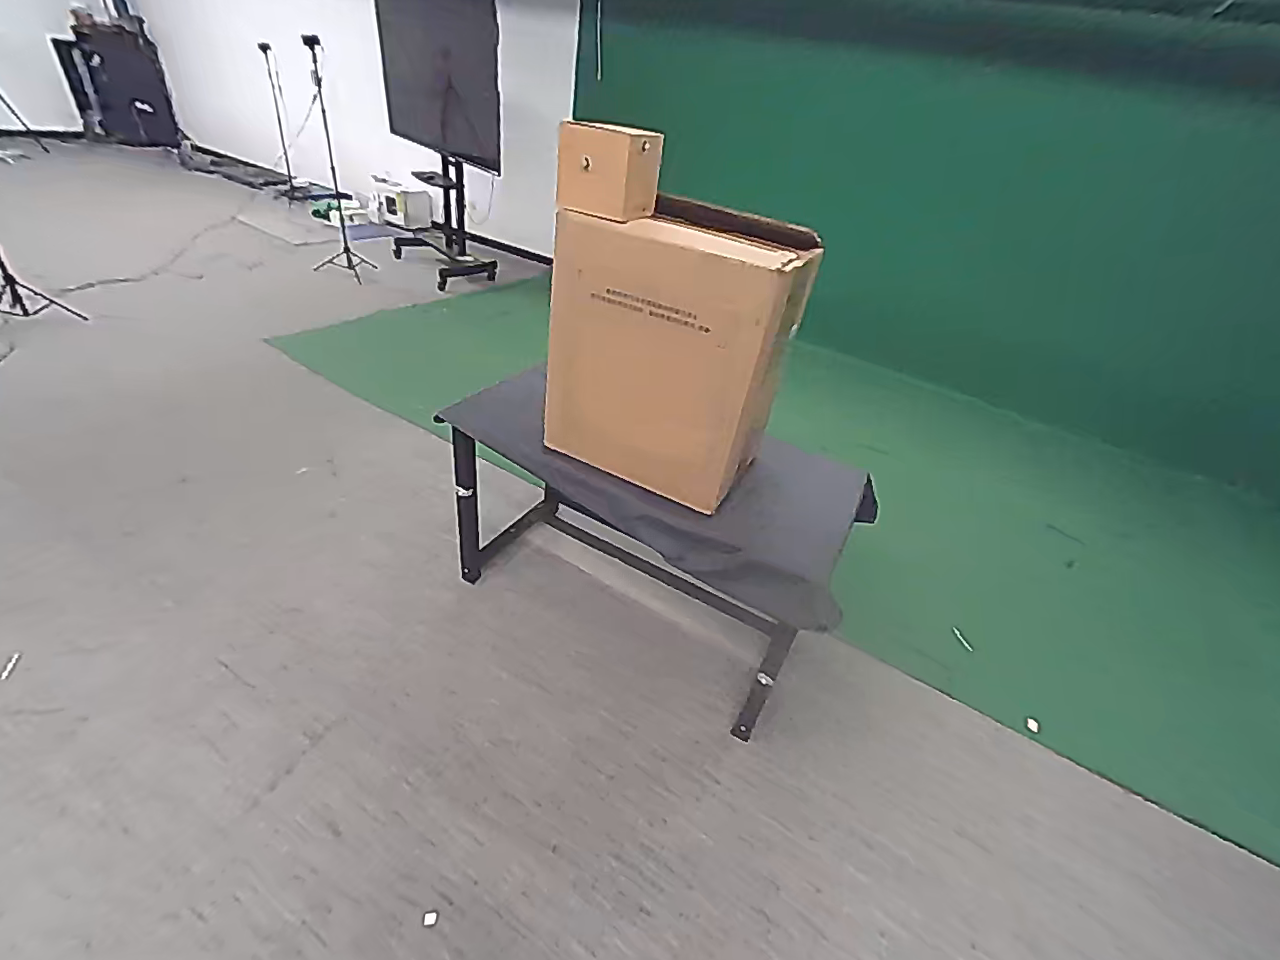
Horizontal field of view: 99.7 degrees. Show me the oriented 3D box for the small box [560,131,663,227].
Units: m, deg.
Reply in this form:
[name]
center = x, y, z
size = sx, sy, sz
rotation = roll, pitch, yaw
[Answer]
[small box]
center = -0.068, -0.681, 1.225
size = 0.179, 0.176, 0.168
rotation = 21, 37, 18
